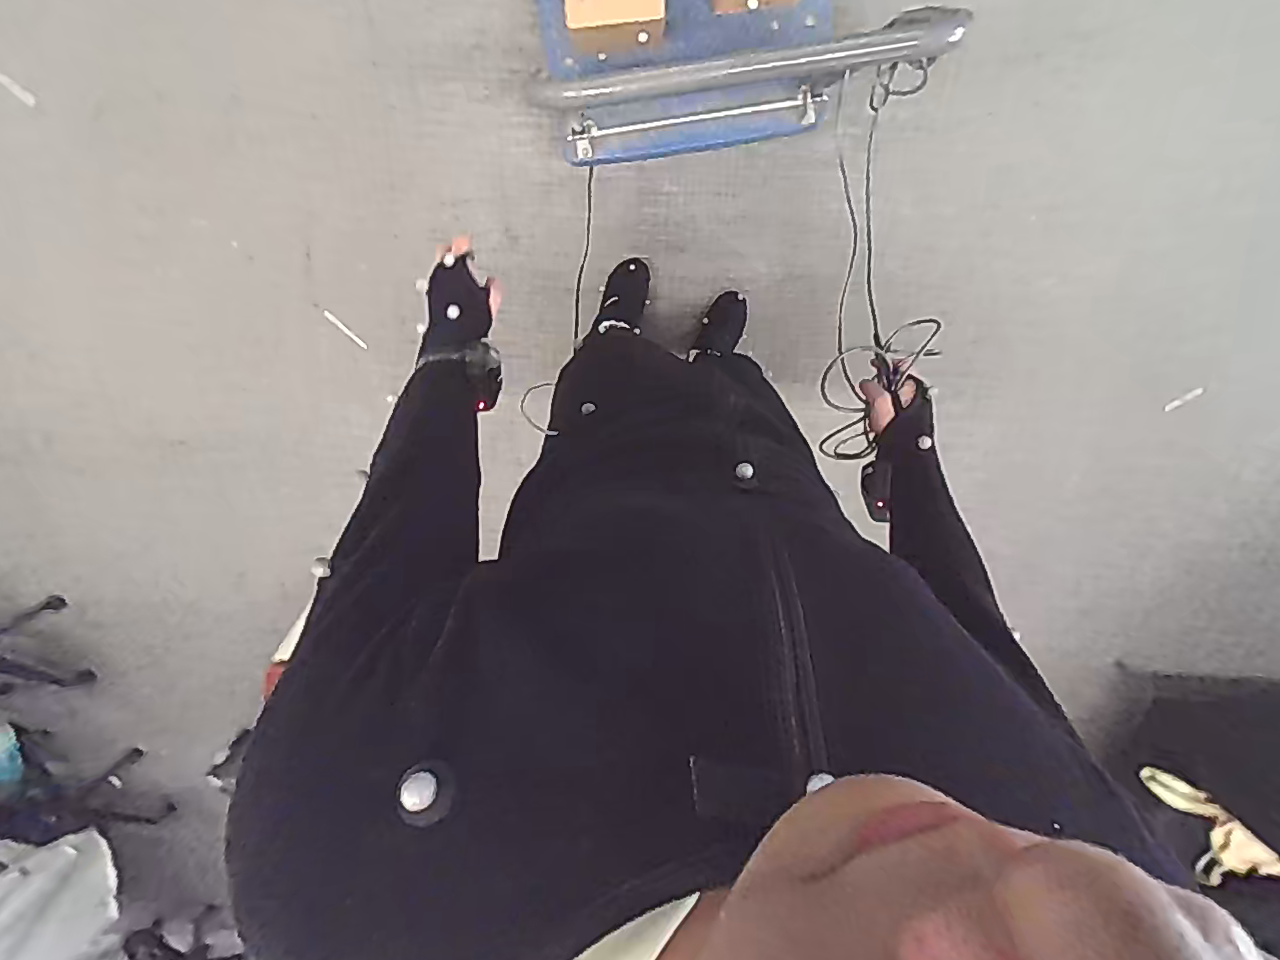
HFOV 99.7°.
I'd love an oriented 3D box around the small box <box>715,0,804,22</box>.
[{"bbox_3d":[0.222,-0.961,0.963,0.168,0.176,0.179,-4,115,4],"label":"small box"}]
